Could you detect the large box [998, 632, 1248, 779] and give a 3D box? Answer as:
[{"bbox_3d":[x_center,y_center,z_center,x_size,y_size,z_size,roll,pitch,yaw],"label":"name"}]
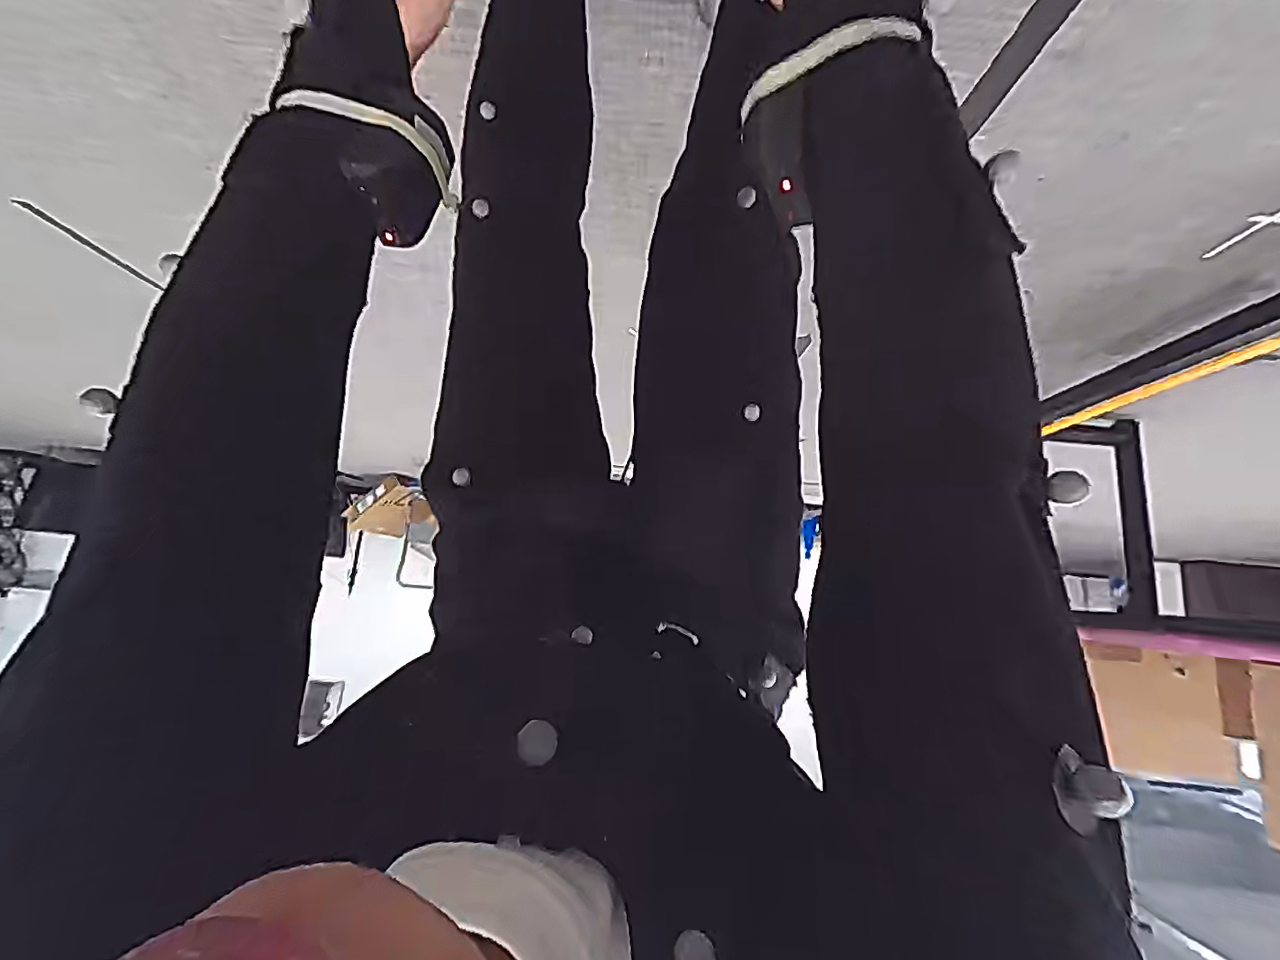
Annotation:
[{"bbox_3d":[1.293,0.600,1.496,0.408,0.320,0.320,4,169,1],"label":"large box"}]
